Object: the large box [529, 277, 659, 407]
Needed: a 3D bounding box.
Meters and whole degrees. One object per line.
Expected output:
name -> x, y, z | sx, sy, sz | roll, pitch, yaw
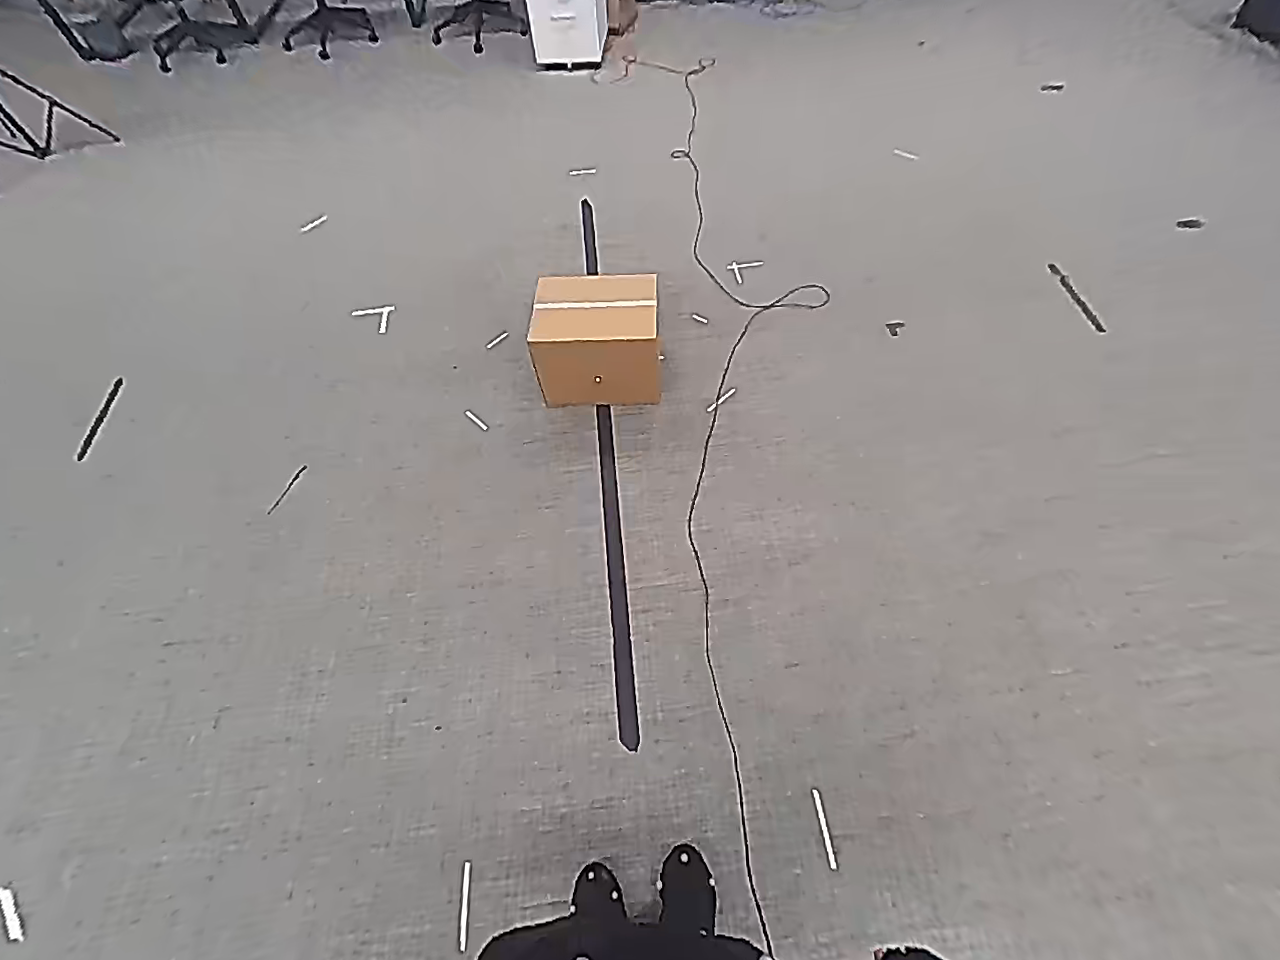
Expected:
large box -> -0.140, -0.468, 1.862 | 0.408, 0.320, 0.320 | 0, 58, 3
